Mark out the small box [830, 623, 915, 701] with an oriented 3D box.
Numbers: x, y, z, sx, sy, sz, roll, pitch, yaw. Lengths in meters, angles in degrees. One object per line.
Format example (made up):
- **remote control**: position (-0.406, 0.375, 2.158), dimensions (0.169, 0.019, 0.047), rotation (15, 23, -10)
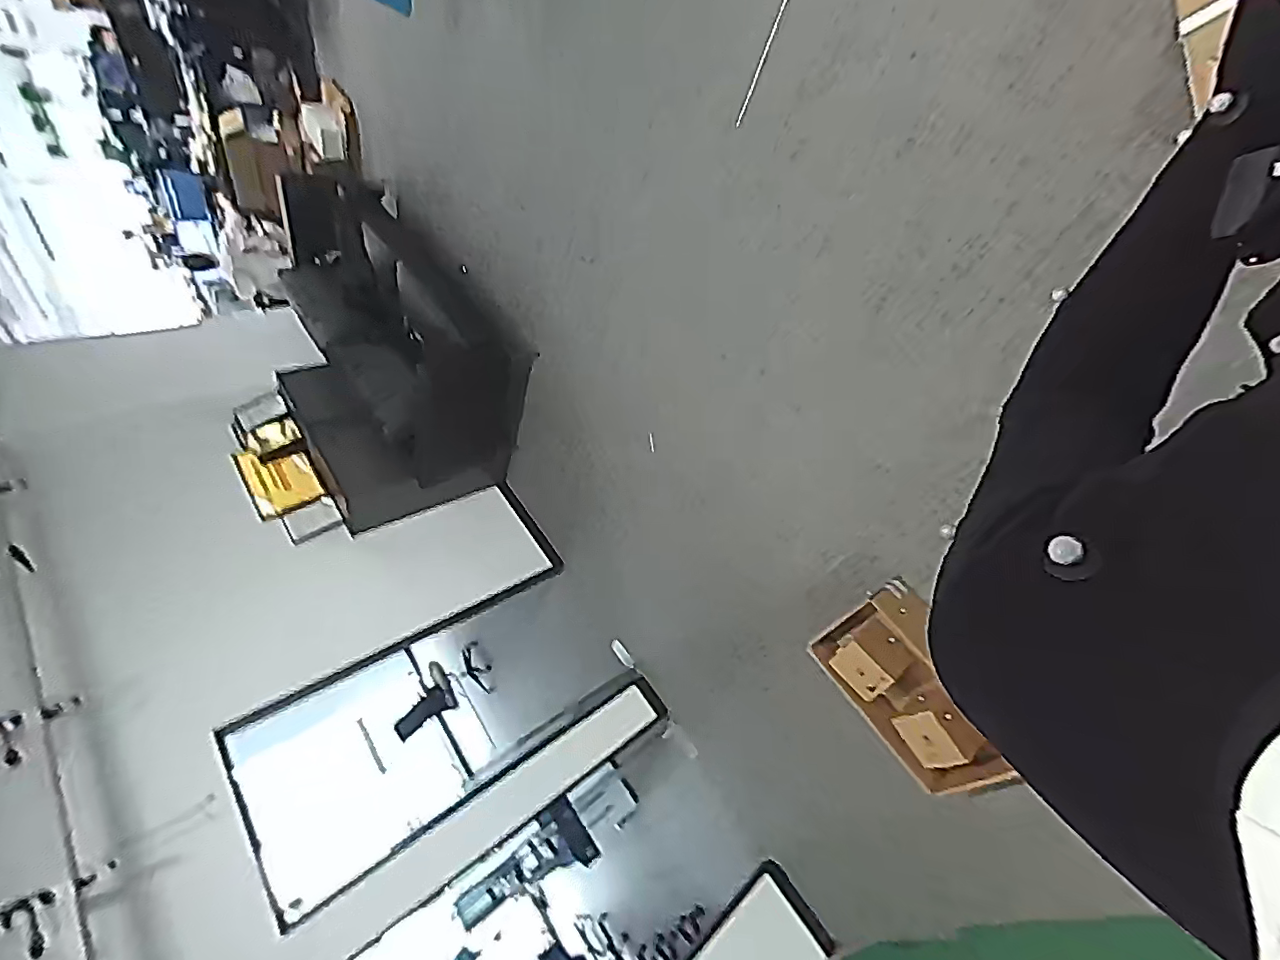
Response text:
- **small box**: position (0.808, 0.622, 1.876), dimensions (0.179, 0.176, 0.168), rotation (47, 139, 25)
